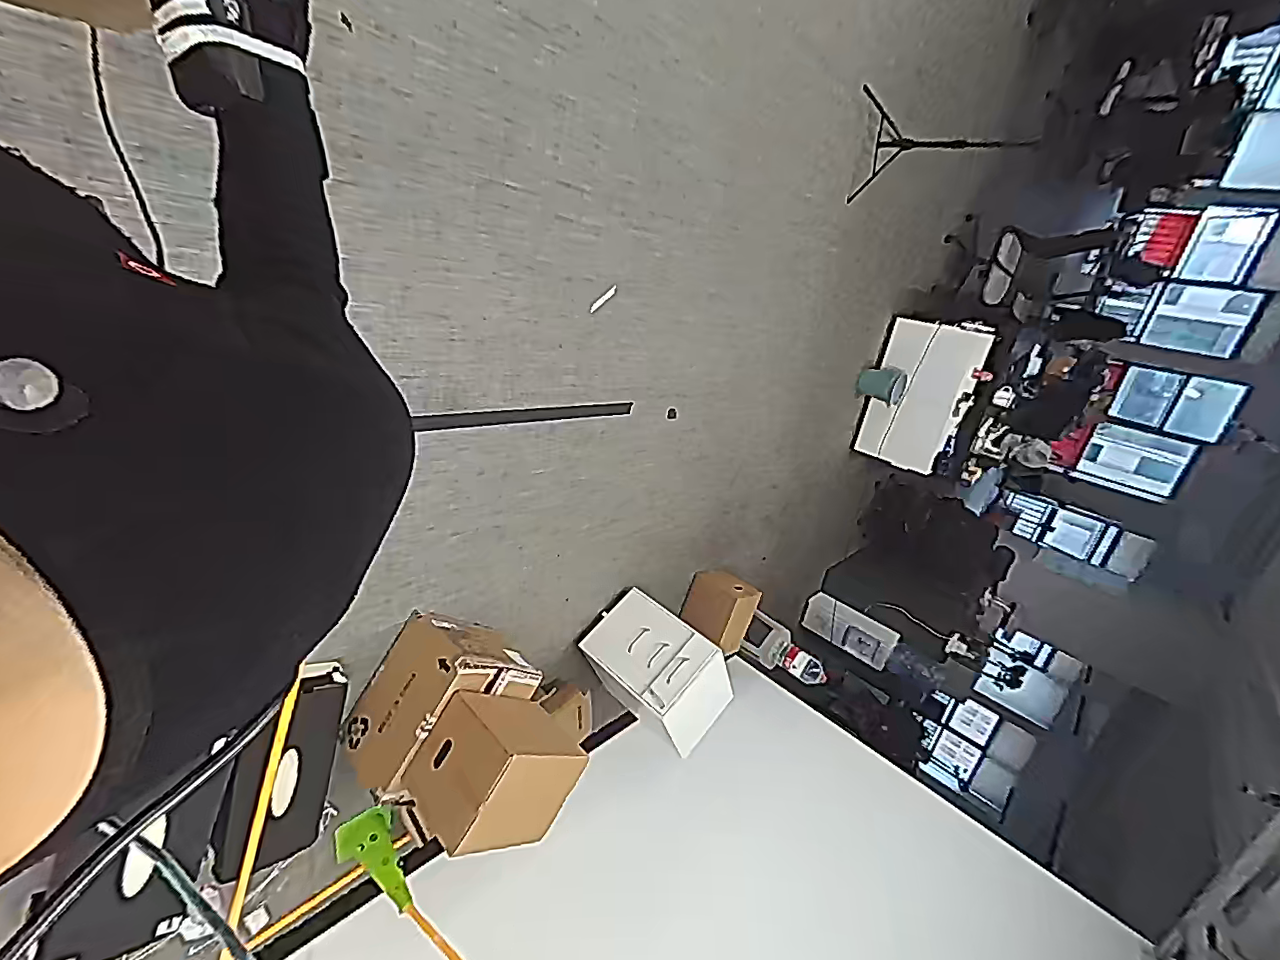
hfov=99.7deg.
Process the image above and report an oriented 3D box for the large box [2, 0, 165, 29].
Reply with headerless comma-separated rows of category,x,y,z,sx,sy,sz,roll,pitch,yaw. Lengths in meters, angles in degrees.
large box,-0.528,-0.488,0.261,0.408,0.320,0.320,-19,127,-45
